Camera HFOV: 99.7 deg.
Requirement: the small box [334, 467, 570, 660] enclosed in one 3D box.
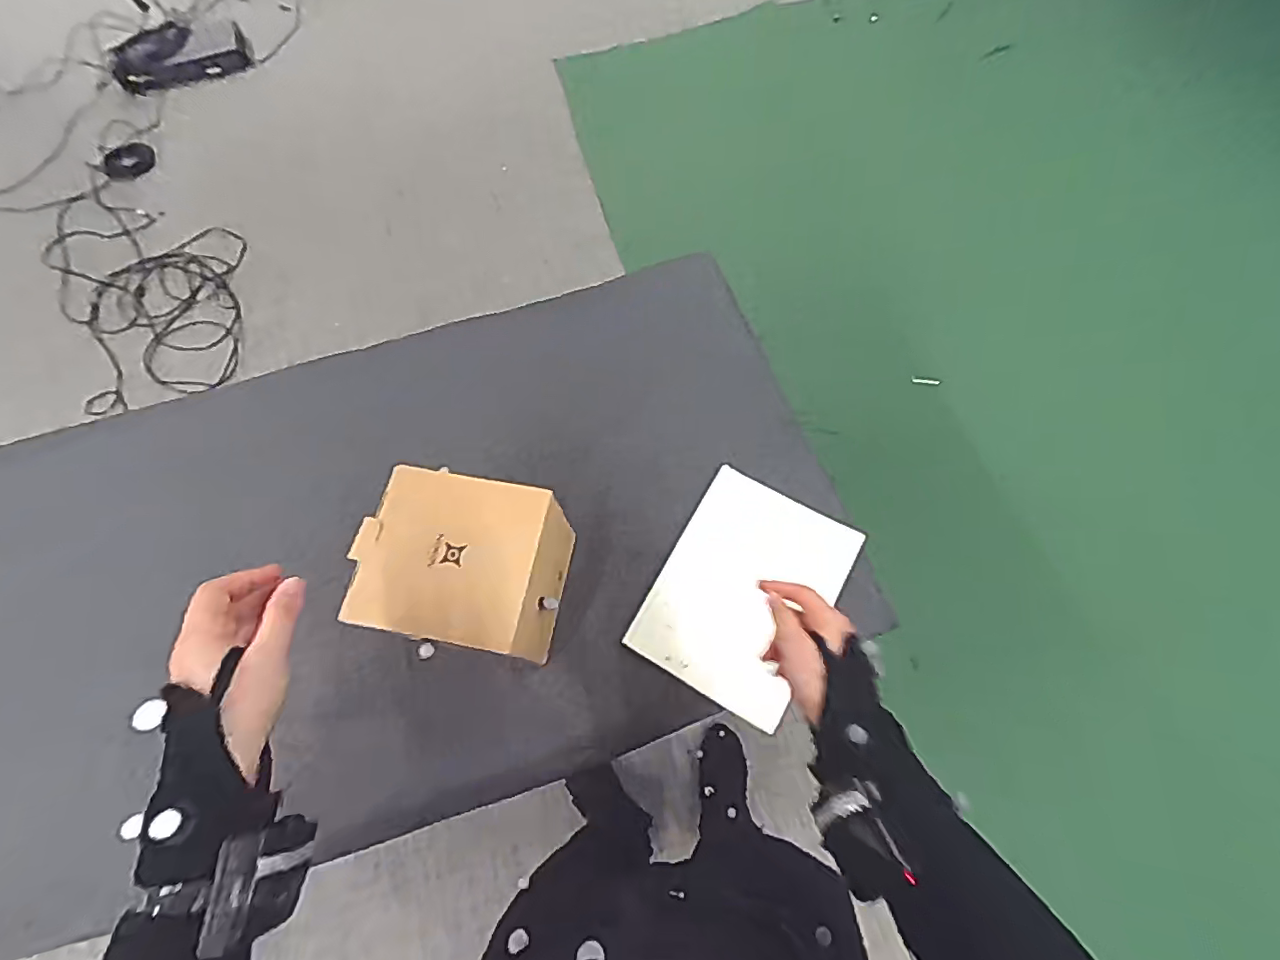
[{"bbox_3d":[-0.187,0.102,0.604,0.179,0.176,0.168,9,69,7],"label":"small box"}]
